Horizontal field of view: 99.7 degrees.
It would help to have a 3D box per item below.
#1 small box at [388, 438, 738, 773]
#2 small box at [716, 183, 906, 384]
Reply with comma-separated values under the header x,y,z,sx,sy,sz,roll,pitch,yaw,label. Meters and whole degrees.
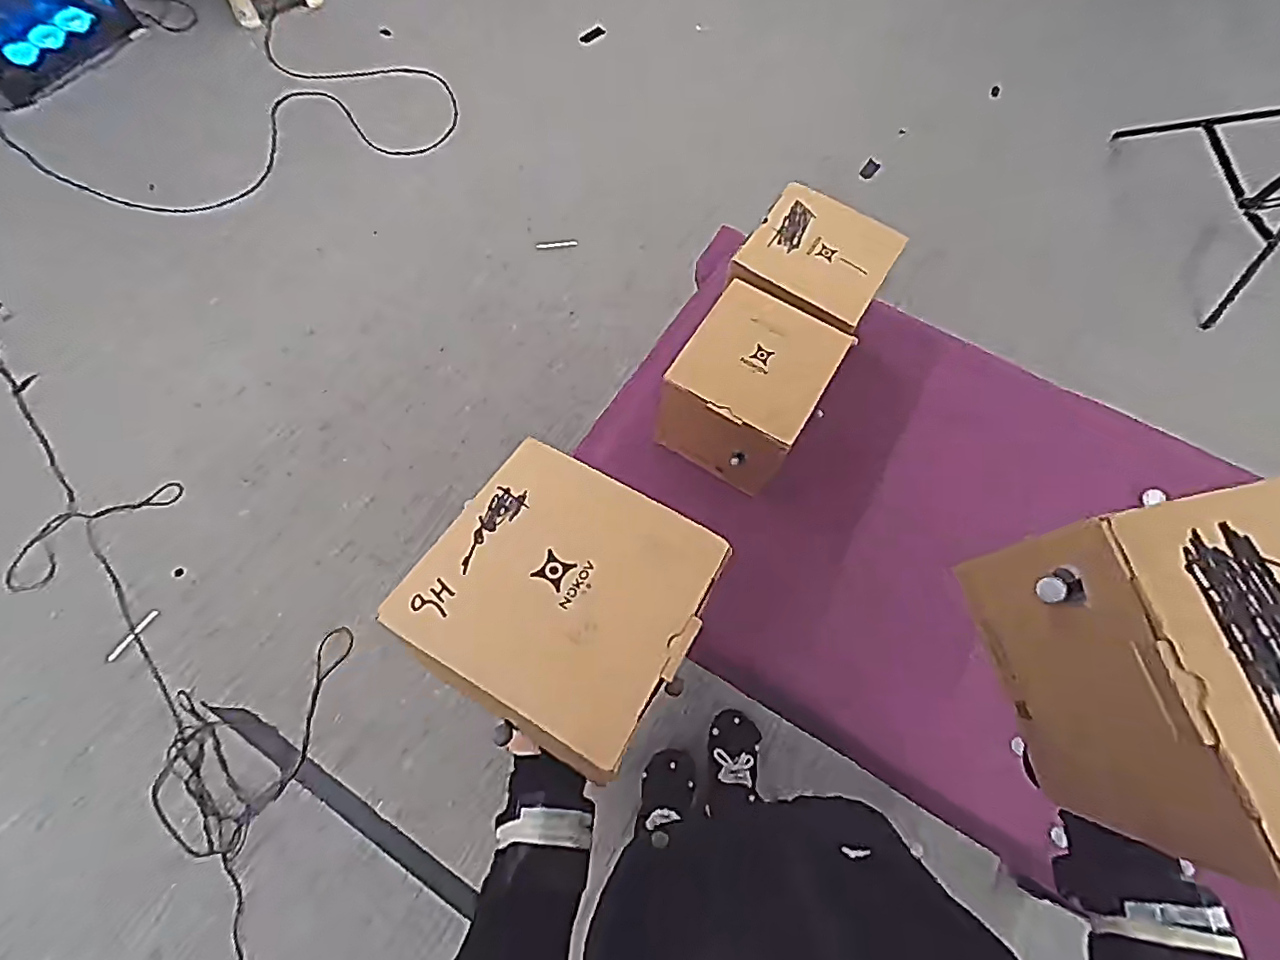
x,y,z,sx,sy,sz,roll,pitch,yaw,label
-0.052,0.105,0.427,0.179,0.176,0.168,29,60,10,small box
0.226,-0.266,0.764,0.179,0.176,0.168,32,73,9,small box
